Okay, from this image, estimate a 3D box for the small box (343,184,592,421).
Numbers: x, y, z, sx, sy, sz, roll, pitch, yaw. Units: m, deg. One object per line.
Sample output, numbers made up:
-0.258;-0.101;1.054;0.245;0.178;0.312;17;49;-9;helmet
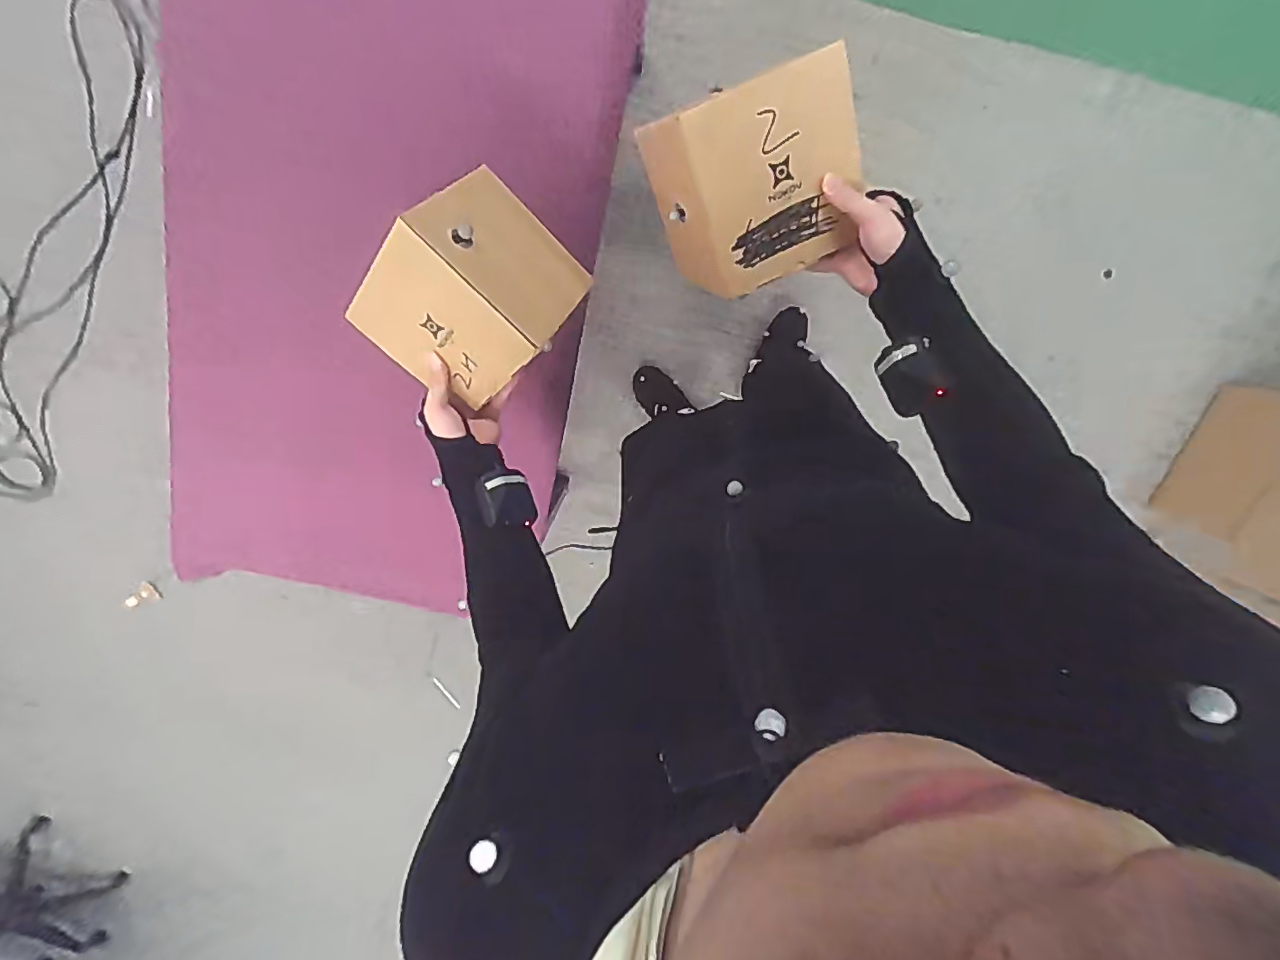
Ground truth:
-0.188;-0.207;0.621;0.168;0.176;0.179;-27;117;40;small box
